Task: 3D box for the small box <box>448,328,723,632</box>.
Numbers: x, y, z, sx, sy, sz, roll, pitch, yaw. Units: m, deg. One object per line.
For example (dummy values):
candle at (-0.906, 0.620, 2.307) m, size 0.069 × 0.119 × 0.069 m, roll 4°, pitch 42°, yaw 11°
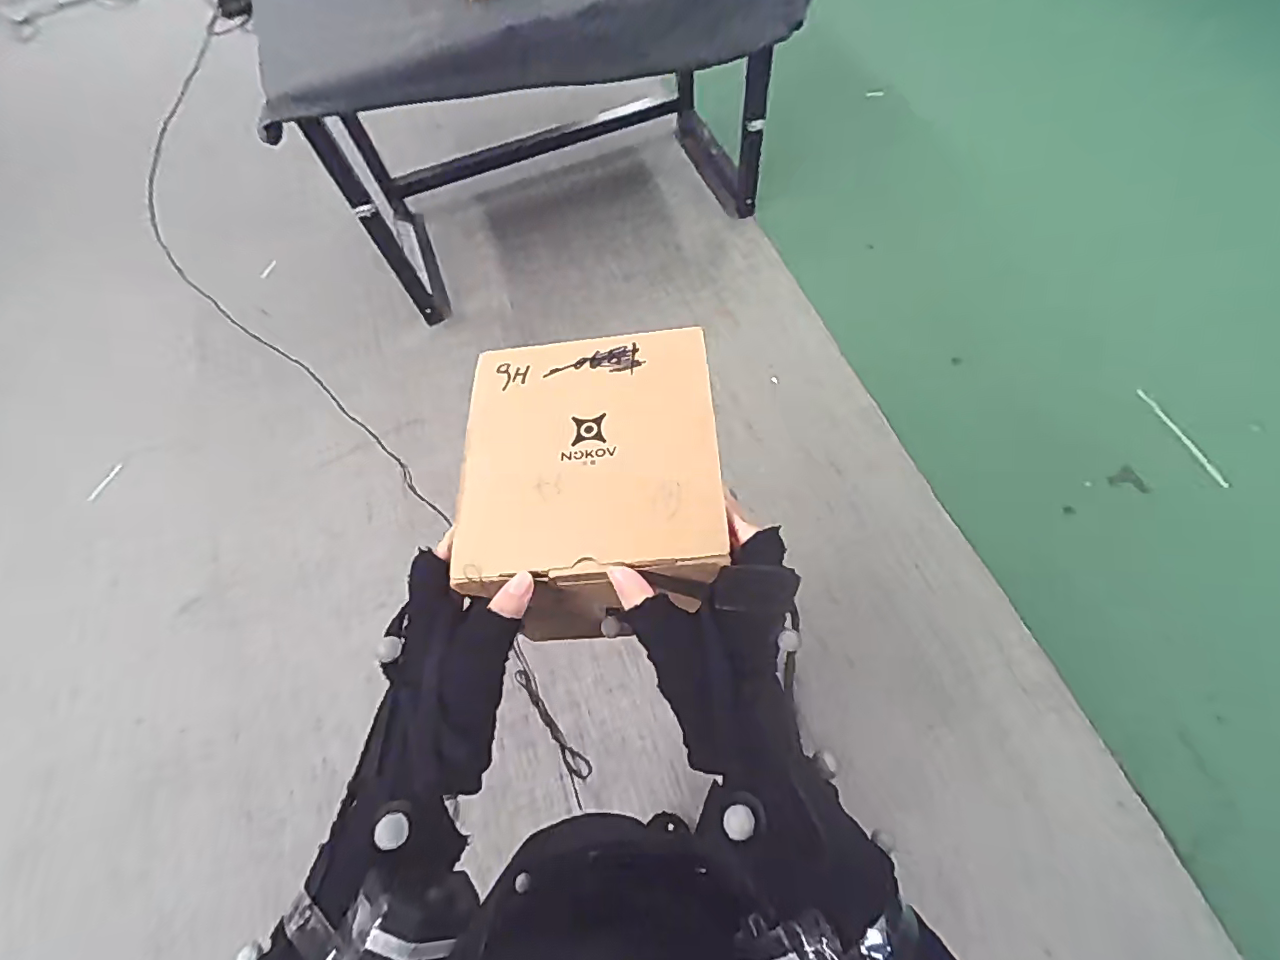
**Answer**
small box at (-0.026, 0.015, 0.415) m, size 0.168 × 0.176 × 0.179 m, roll -6°, pitch 62°, yaw 5°
